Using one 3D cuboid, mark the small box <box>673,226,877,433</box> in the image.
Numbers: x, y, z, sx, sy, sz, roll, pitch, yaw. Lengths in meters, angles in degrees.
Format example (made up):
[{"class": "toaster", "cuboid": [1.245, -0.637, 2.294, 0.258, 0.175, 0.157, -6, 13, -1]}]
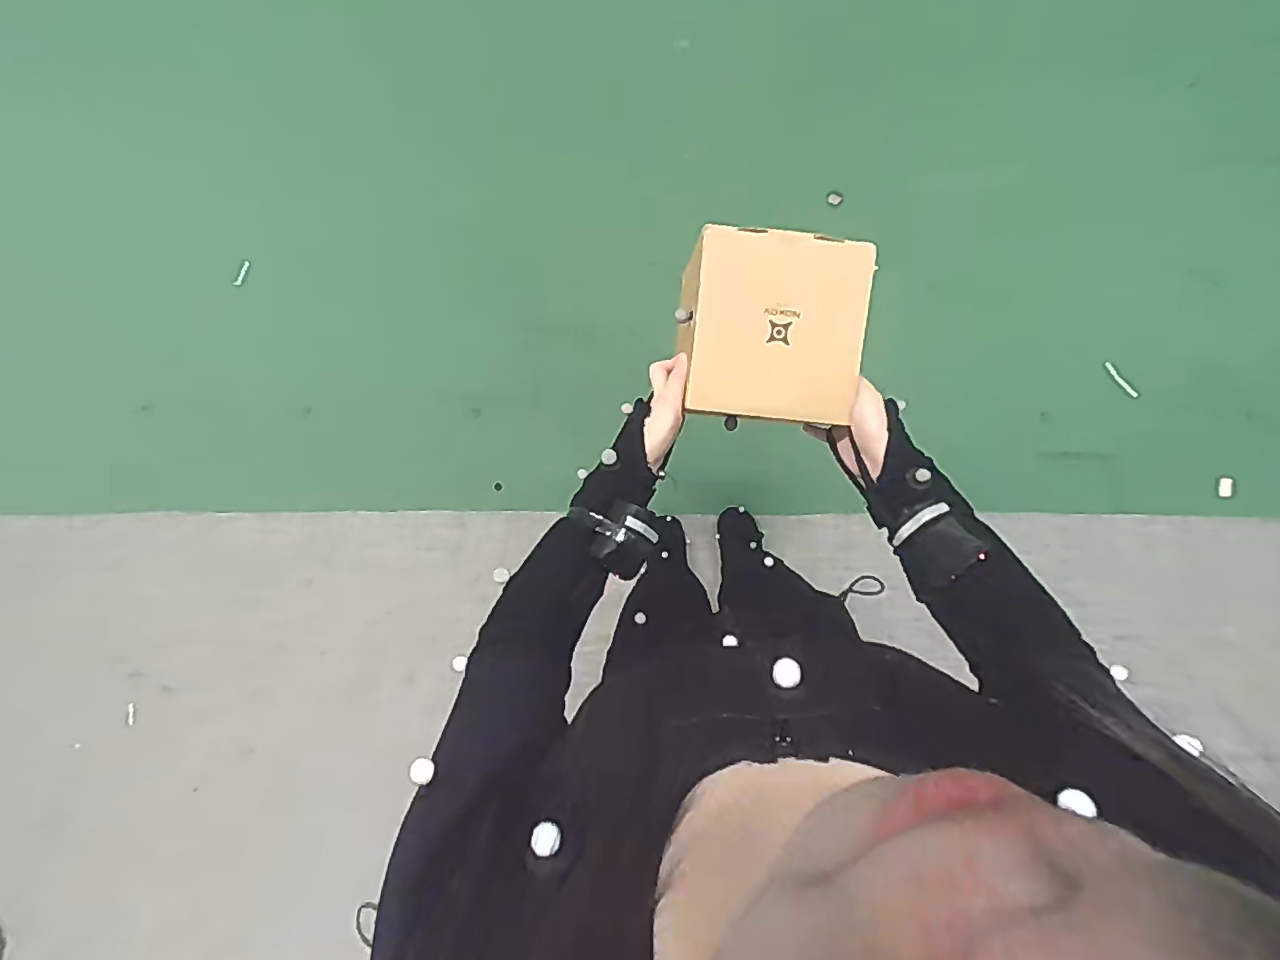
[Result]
[{"class": "small box", "cuboid": [0.129, -0.148, 0.589, 0.168, 0.176, 0.179, 6, 95, -2]}]
